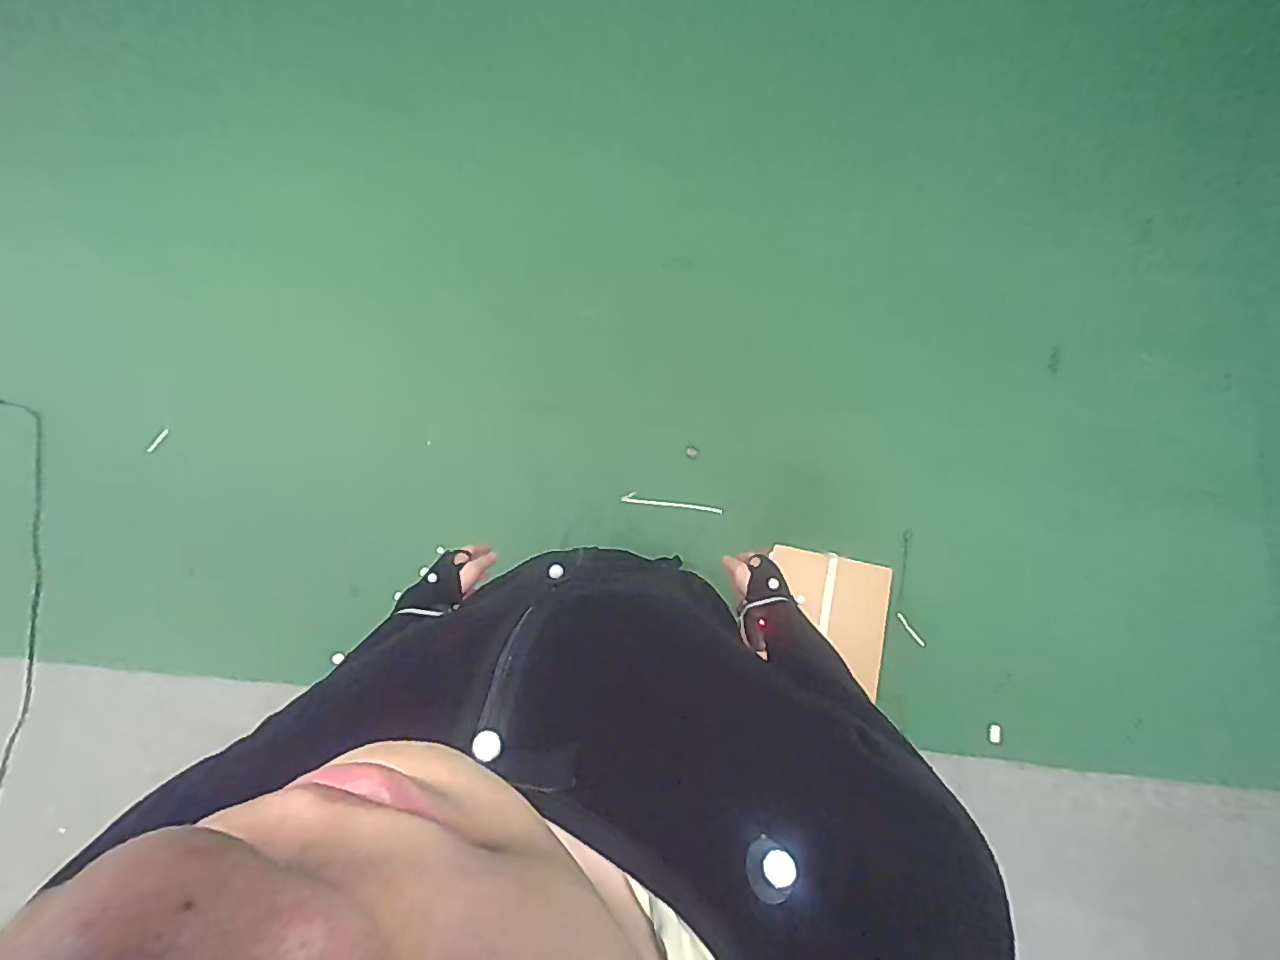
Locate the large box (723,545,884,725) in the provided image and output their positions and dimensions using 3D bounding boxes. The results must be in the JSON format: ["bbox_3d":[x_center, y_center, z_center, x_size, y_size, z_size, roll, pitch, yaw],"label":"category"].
[{"bbox_3d":[0.437,0.405,1.503,0.320,0.320,0.408,11,81,0],"label":"large box"}]
